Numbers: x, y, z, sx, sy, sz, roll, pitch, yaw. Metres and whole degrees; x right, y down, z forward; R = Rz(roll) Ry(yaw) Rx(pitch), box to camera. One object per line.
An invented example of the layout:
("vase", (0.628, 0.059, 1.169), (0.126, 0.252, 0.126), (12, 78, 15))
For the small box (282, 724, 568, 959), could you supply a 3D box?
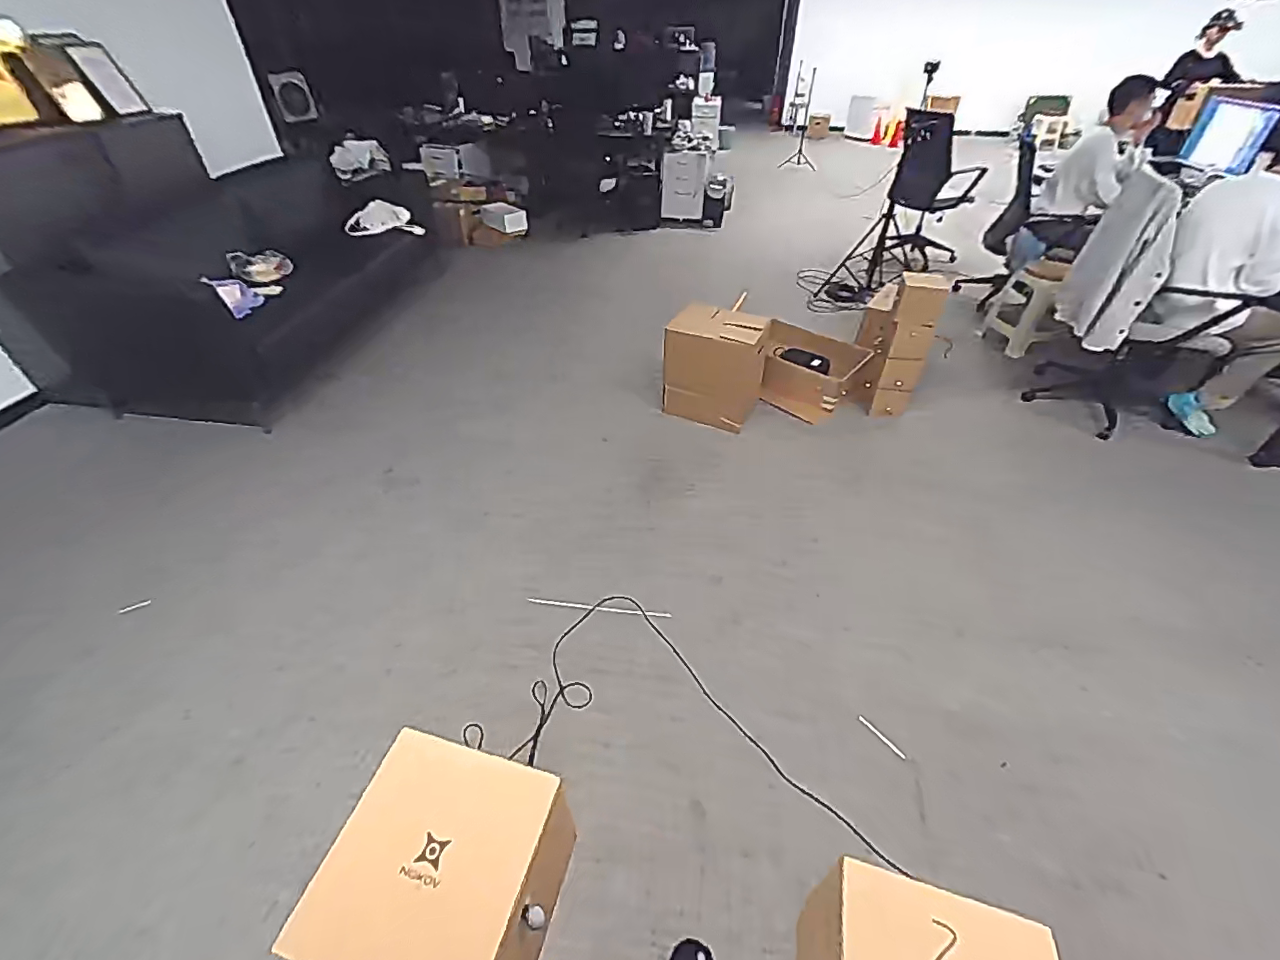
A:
("small box", (-0.174, 0.369, 0.508), (0.168, 0.176, 0.179), (11, 45, 12))
